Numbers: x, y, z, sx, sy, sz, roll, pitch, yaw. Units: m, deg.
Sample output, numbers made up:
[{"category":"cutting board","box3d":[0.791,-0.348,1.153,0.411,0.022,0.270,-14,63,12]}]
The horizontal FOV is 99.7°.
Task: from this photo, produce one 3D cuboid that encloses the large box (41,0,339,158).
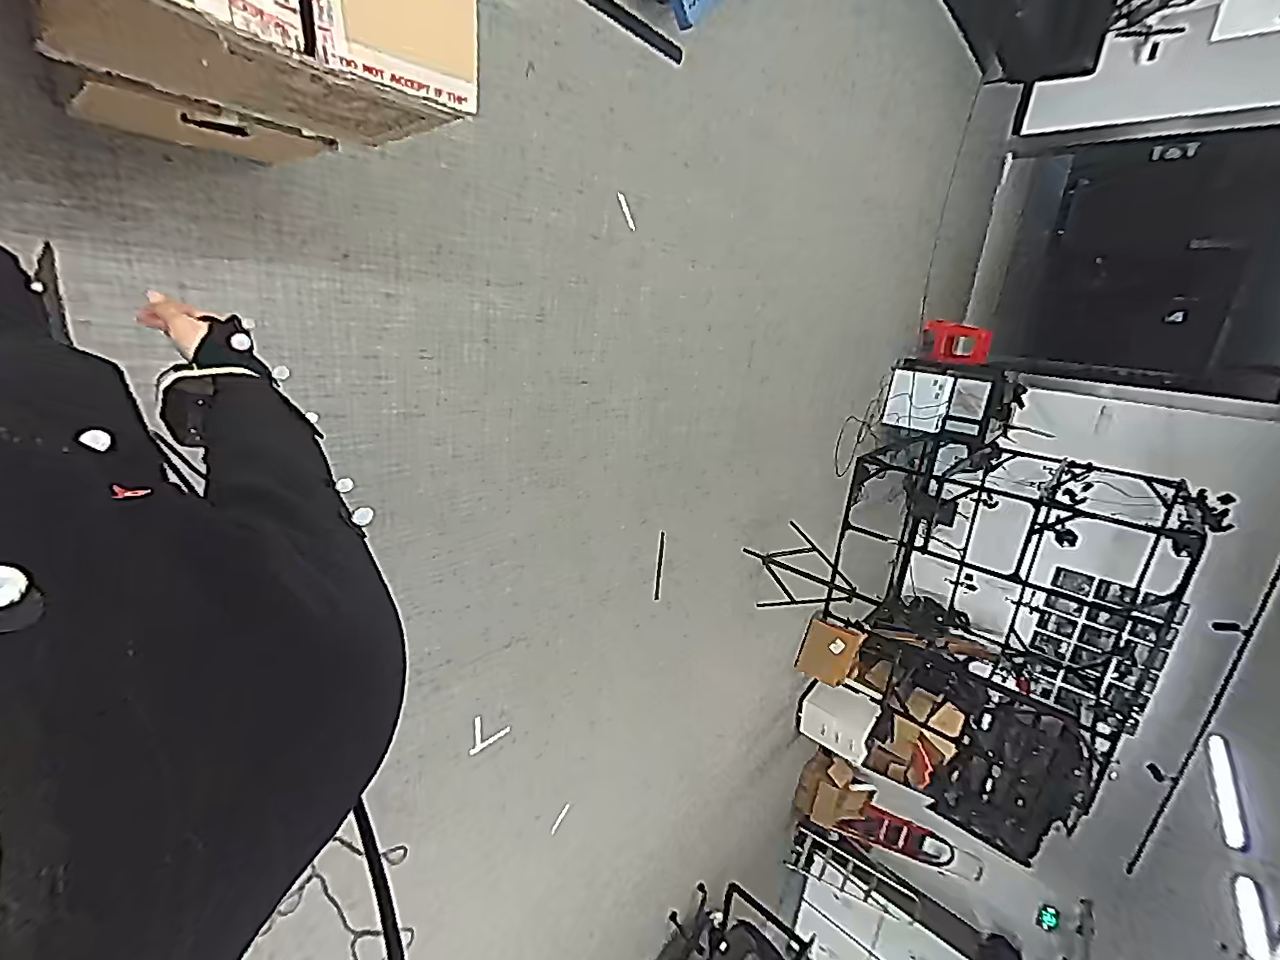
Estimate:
[{"category":"large box","box3d":[-0.713,-0.778,0.845,0.320,0.320,0.408,-15,117,-47]}]
